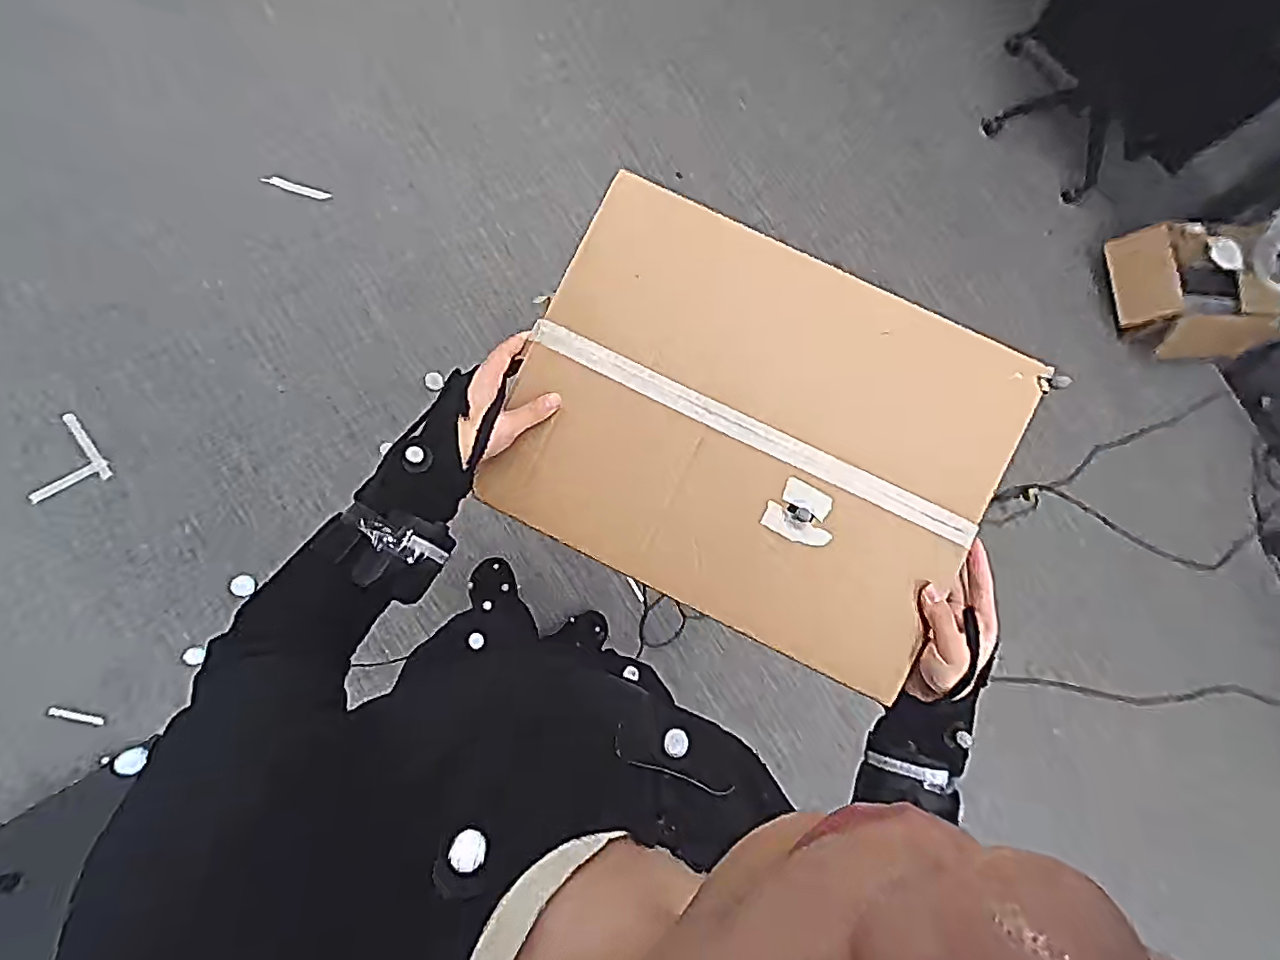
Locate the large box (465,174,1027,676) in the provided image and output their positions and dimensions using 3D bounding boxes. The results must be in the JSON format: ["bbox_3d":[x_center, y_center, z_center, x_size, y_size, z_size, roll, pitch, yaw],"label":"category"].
[{"bbox_3d":[0.090,-0.048,0.611,0.408,0.320,0.320,25,90,2],"label":"large box"}]
